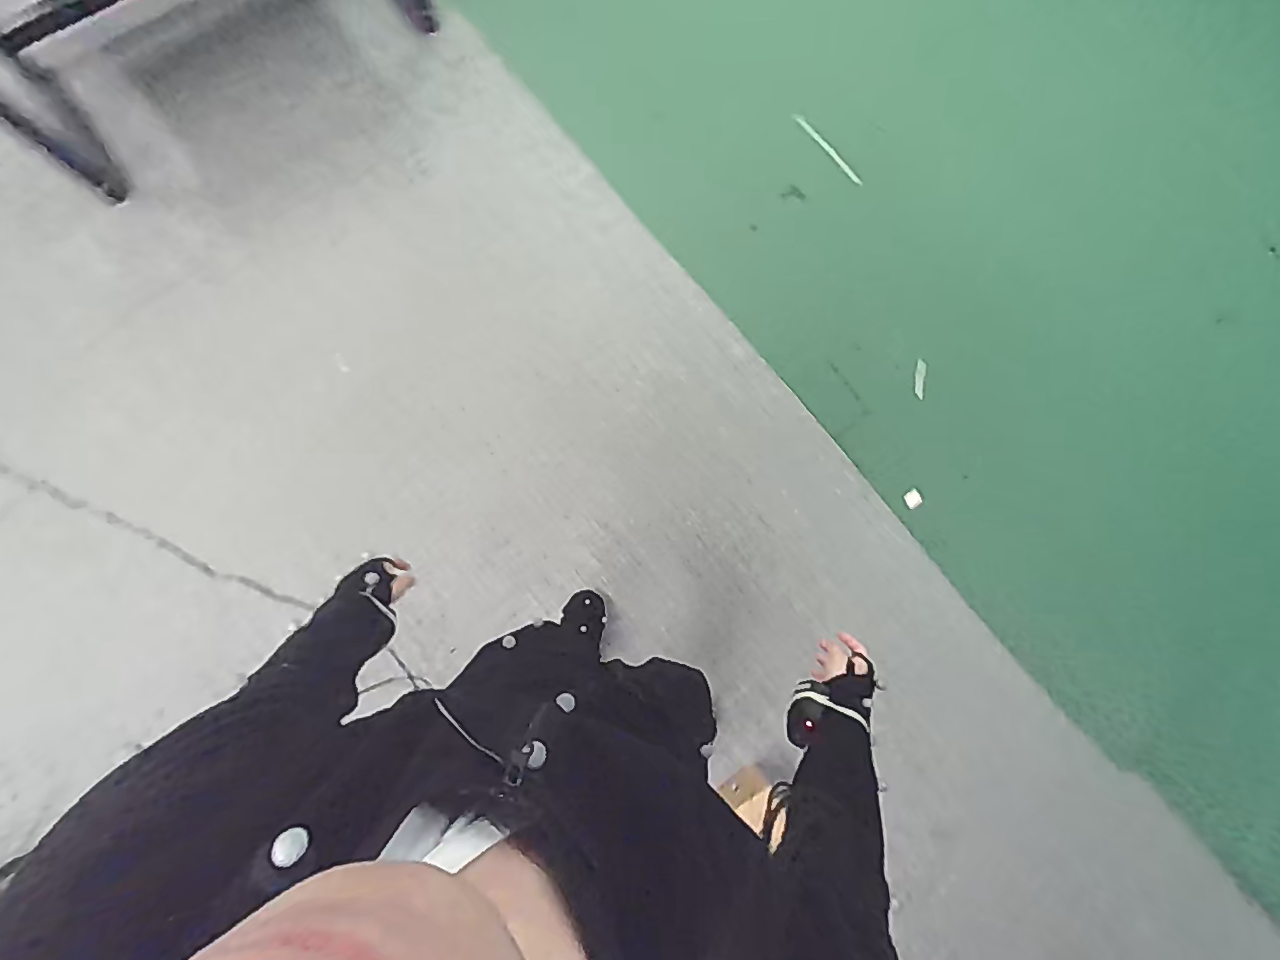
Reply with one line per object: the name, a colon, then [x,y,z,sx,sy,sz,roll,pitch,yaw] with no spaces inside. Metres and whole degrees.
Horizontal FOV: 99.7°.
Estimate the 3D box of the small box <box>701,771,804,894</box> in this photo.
small box: [0.268,0.853,1.337,0.168,0.176,0.179,-30,82,-7]
